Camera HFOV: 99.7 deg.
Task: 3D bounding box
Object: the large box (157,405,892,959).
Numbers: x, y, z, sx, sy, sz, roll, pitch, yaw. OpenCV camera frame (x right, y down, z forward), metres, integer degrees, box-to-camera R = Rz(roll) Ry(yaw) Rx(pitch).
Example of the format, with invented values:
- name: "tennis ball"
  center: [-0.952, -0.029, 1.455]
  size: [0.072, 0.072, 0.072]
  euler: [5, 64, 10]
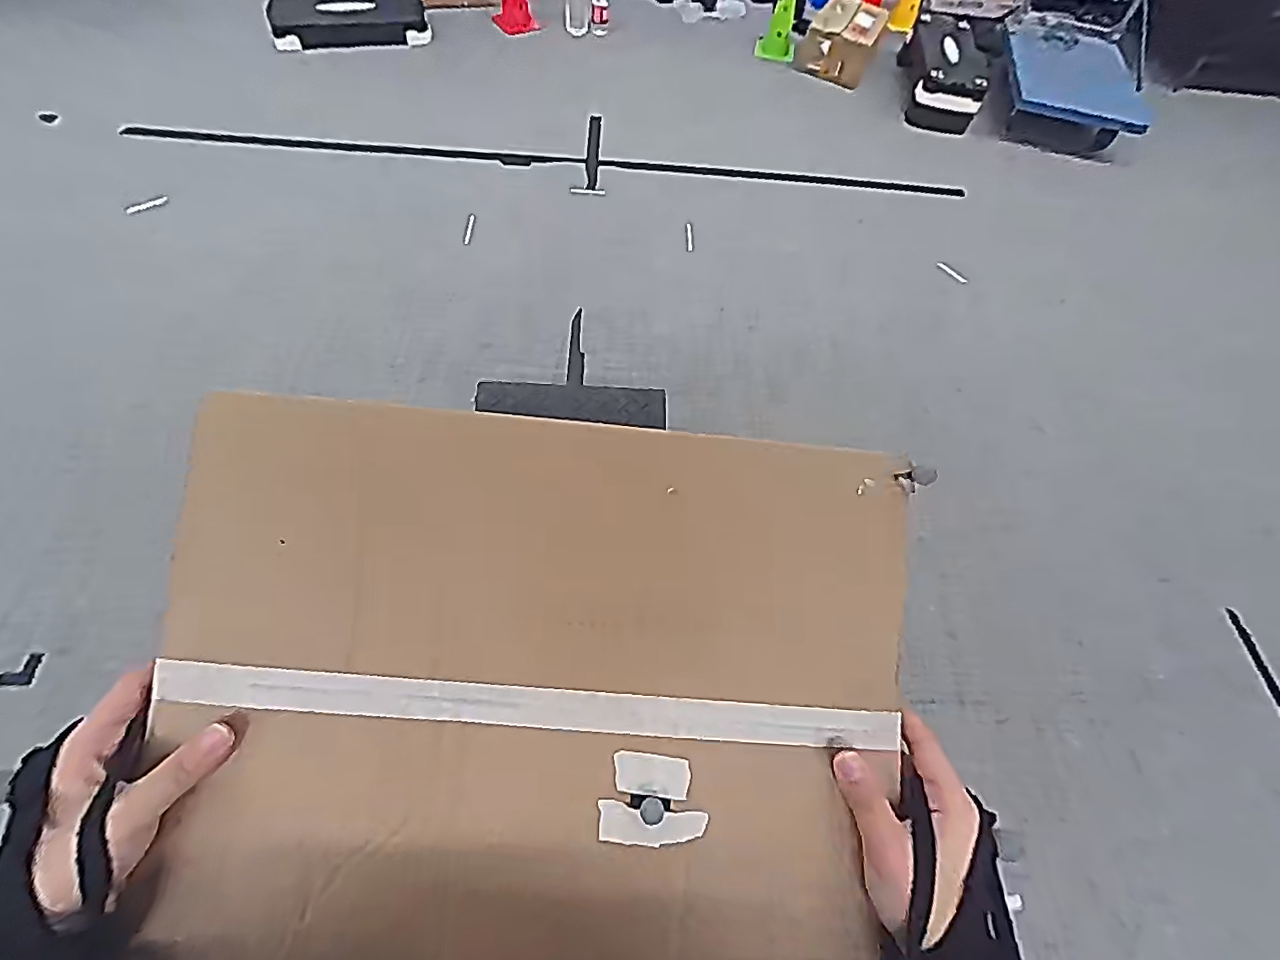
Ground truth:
- name: "large box"
  center: [-0.062, 0.135, 0.460]
  size: [0.408, 0.320, 0.320]
  euler: [5, 86, -3]
